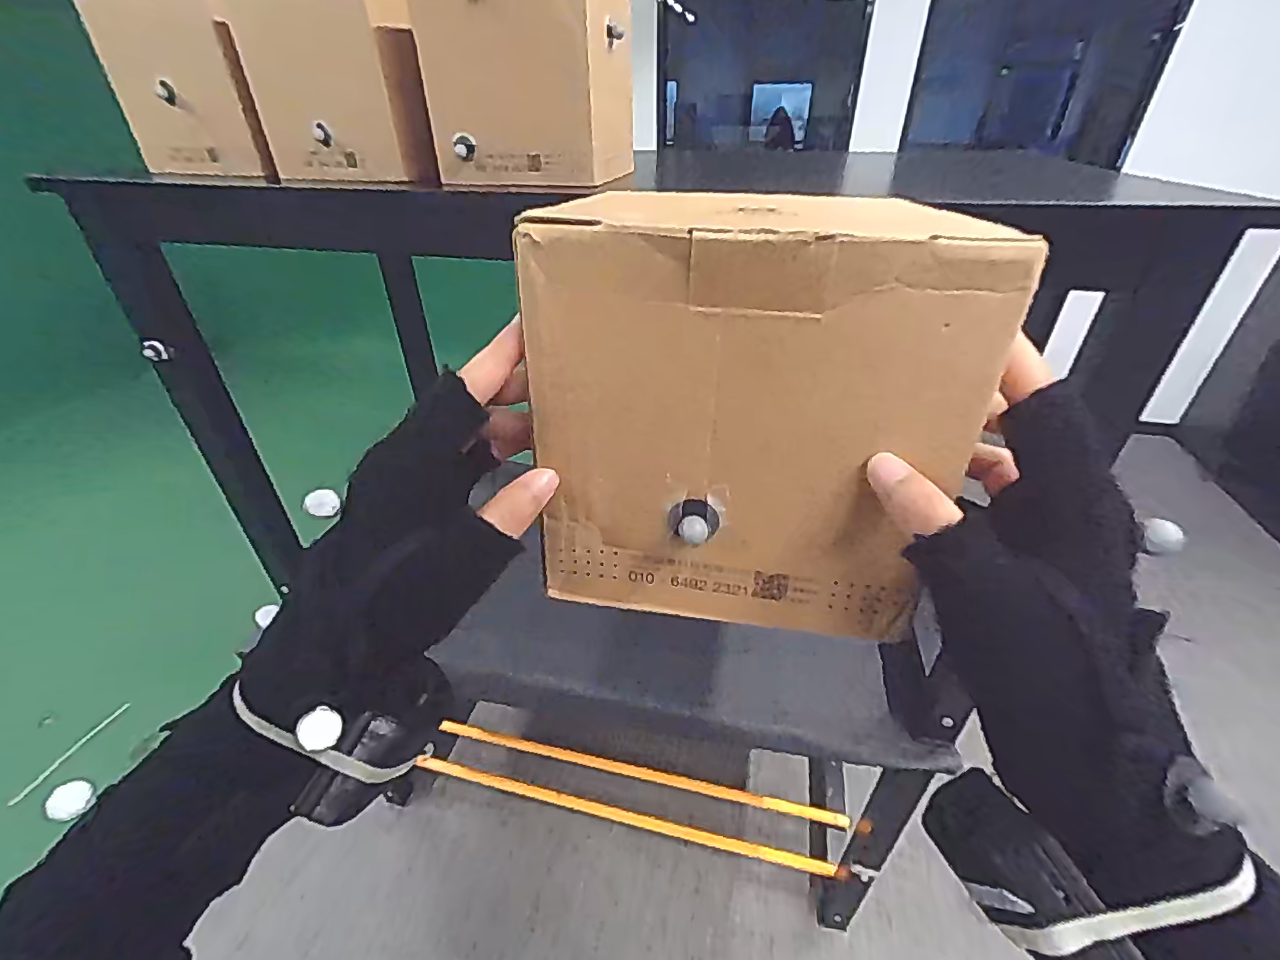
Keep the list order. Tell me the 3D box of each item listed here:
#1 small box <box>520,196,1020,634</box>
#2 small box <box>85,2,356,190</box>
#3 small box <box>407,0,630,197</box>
[{"bbox_3d":[0.049,-0.049,0.287,0.168,0.176,0.179,5,31,8],"label":"small box"},{"bbox_3d":[-0.488,-0.460,0.665,0.168,0.176,0.179,8,34,11],"label":"small box"},{"bbox_3d":[-0.106,-0.399,0.568,0.168,0.176,0.179,6,33,10],"label":"small box"}]
